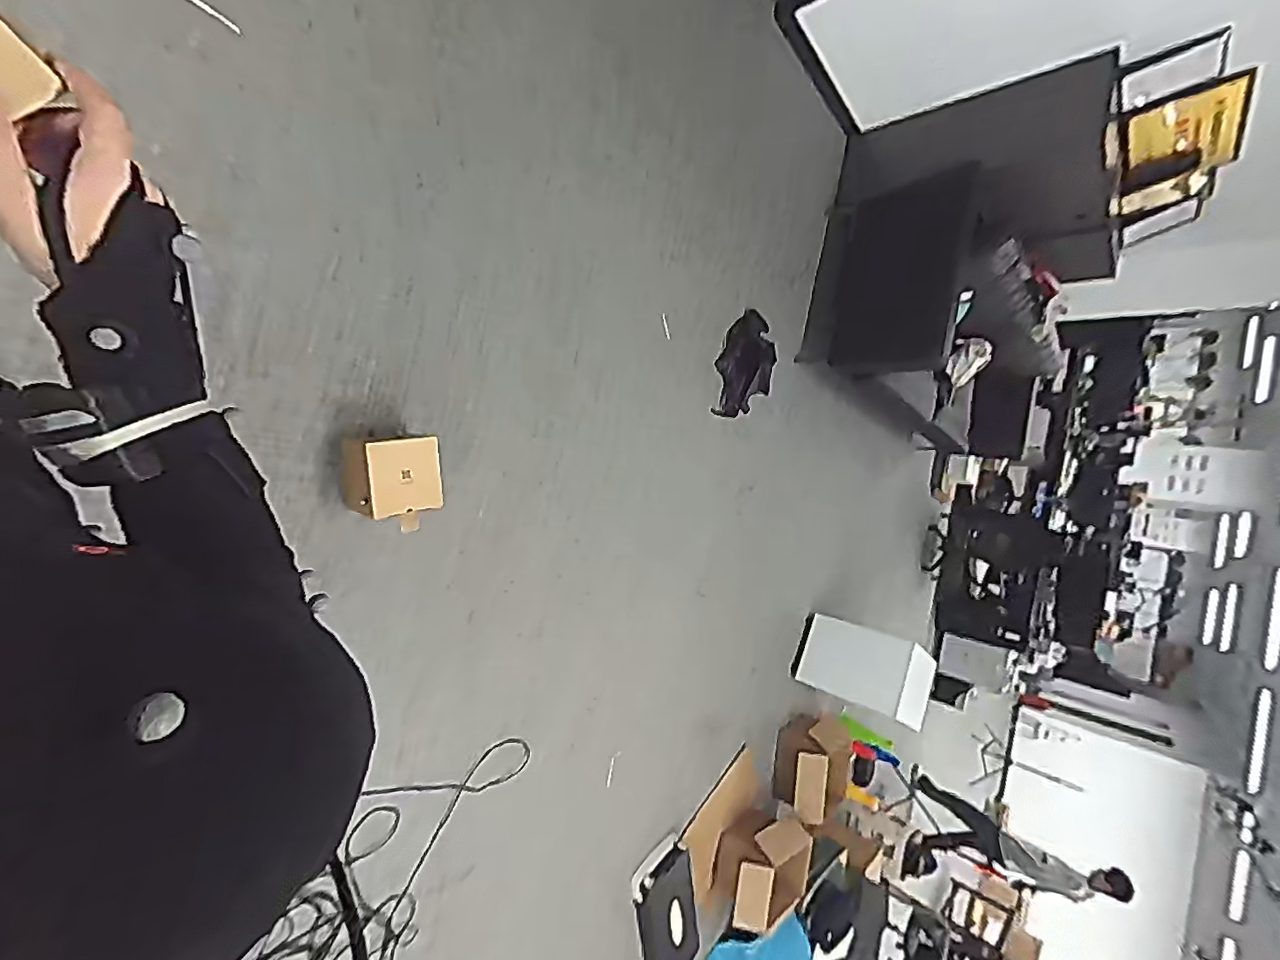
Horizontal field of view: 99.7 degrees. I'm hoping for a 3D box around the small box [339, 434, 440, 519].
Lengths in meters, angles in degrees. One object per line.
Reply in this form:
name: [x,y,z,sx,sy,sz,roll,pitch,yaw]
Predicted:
small box: [-0.604,-0.017,1.302,0.168,0.176,0.179,-13,107,-45]
